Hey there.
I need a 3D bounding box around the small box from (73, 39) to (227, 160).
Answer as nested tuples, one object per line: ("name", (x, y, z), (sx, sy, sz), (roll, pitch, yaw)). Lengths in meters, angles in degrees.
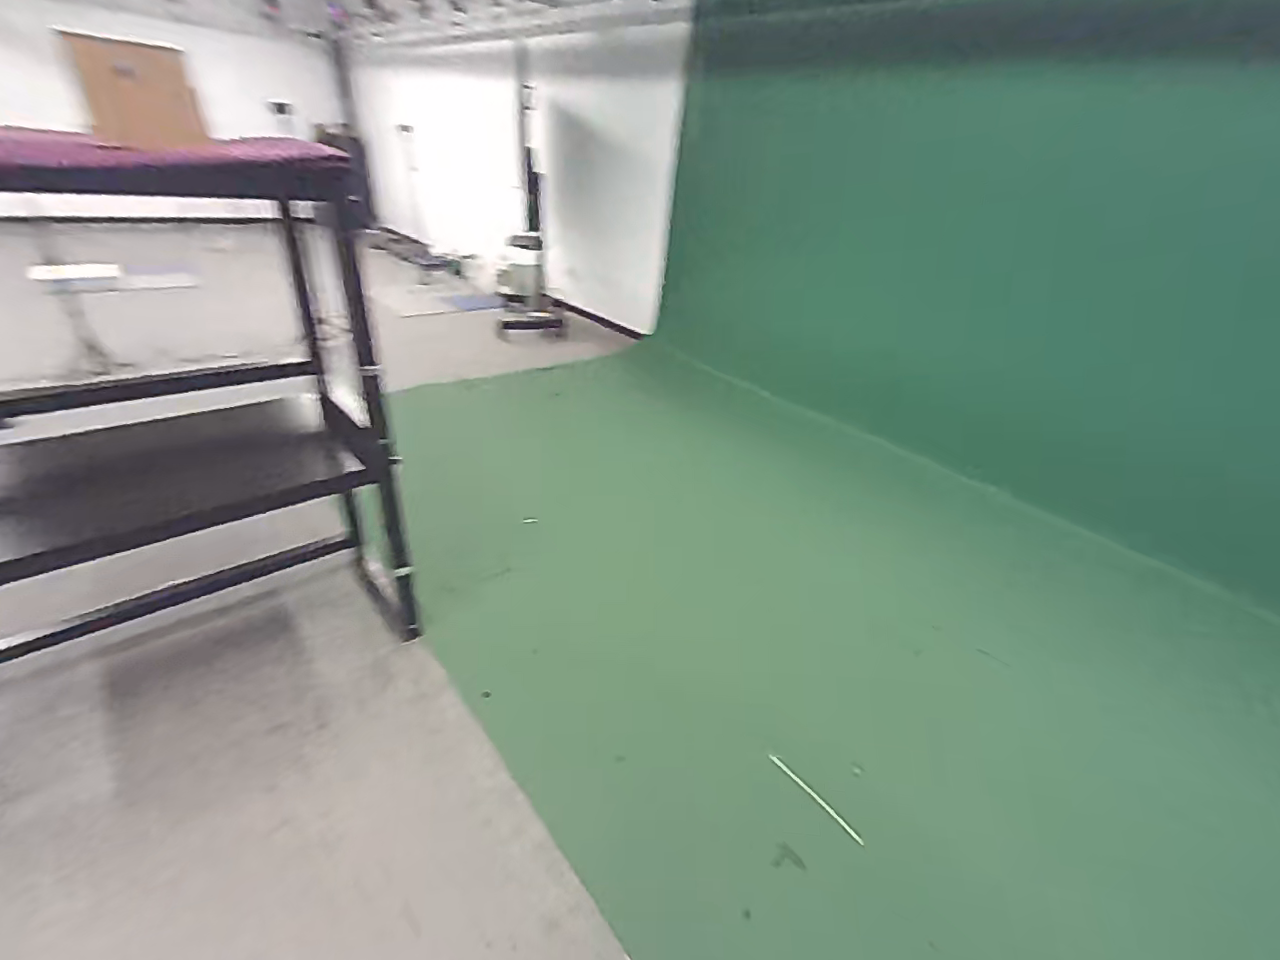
("small box", (-0.946, -0.729, 1.054), (0.179, 0.176, 0.168), (-19, 37, -36))
